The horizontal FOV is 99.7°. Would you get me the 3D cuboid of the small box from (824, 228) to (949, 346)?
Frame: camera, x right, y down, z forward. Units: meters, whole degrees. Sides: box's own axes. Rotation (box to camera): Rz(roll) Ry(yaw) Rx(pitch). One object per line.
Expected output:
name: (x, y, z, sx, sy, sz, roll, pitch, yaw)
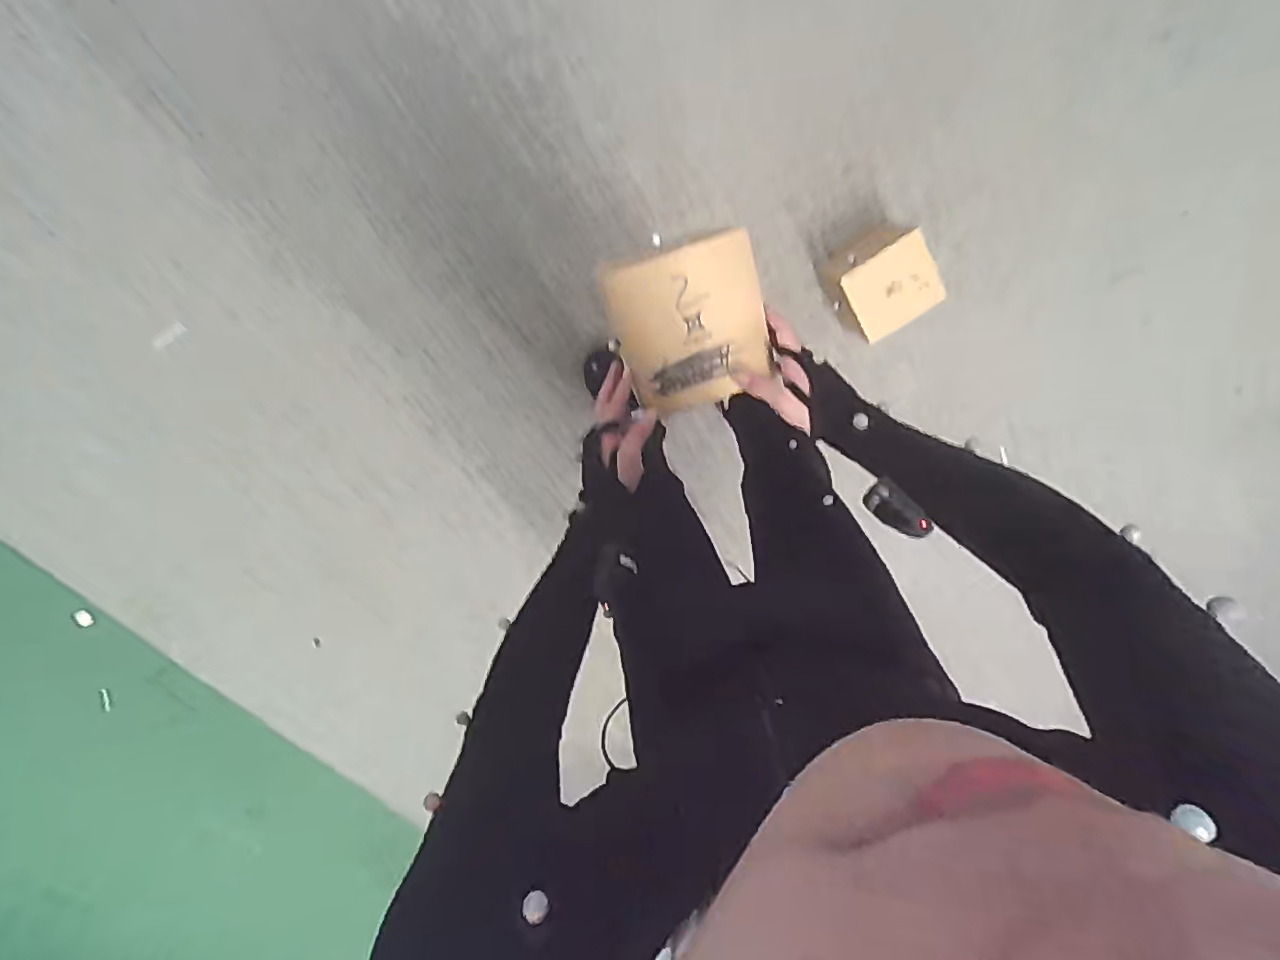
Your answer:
small box: (0.526, -0.426, 1.183, 0.179, 0.176, 0.168, -32, 115, 14)
